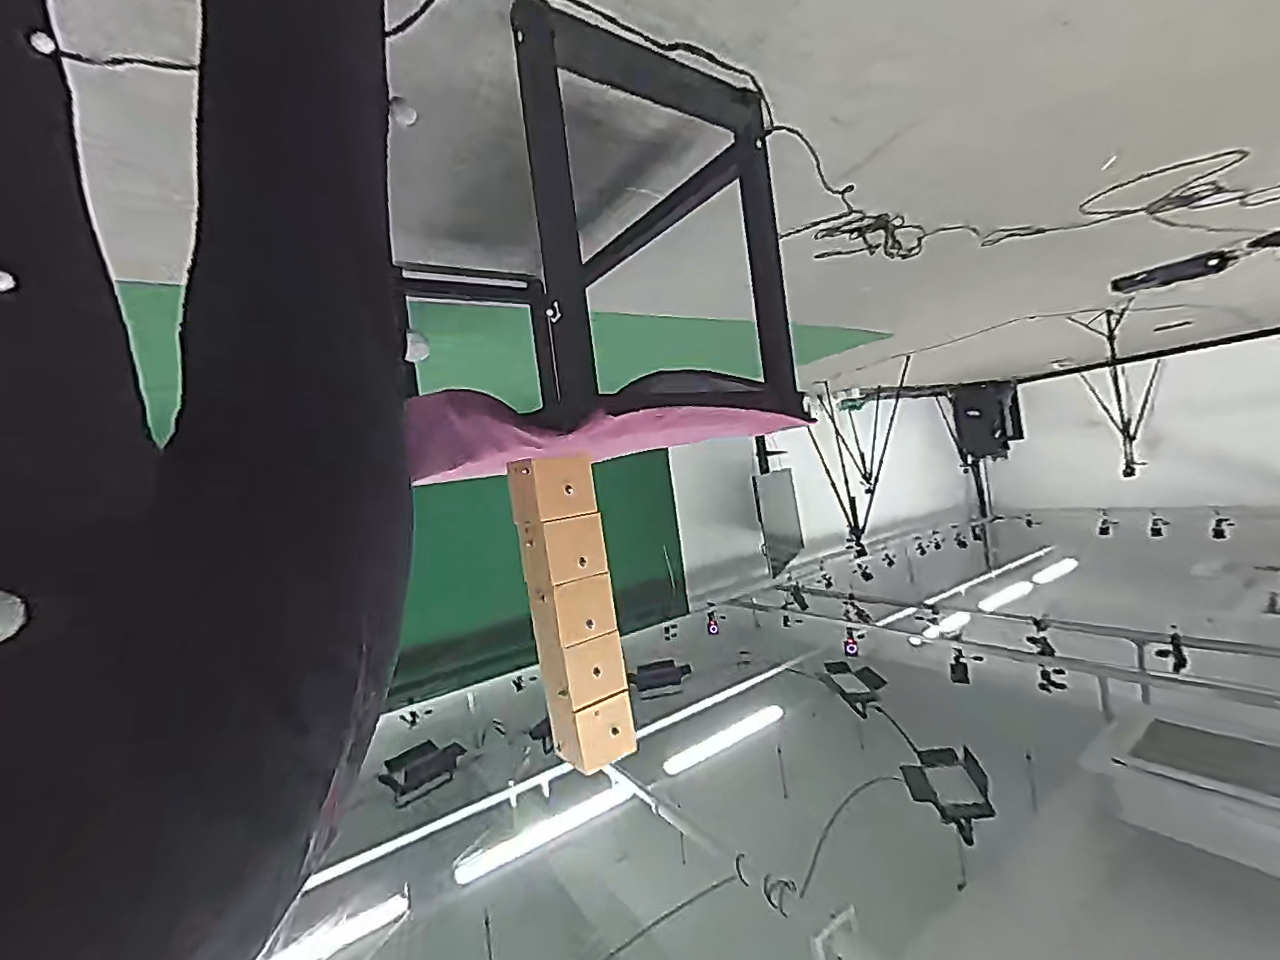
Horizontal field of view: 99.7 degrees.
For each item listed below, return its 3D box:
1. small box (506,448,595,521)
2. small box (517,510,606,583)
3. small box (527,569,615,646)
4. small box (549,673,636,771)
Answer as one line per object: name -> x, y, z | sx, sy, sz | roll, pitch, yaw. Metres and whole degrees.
small box -> -0.248, 0.012, 1.474 | 0.179, 0.176, 0.168 | -9, -179, -37
small box -> -0.218, 0.174, 1.479 | 0.179, 0.176, 0.168 | -8, 180, -36
small box -> -0.192, 0.334, 1.485 | 0.179, 0.176, 0.168 | -8, 180, -36
small box -> -0.138, 0.656, 1.490 | 0.168, 0.176, 0.179 | -10, -178, -35
